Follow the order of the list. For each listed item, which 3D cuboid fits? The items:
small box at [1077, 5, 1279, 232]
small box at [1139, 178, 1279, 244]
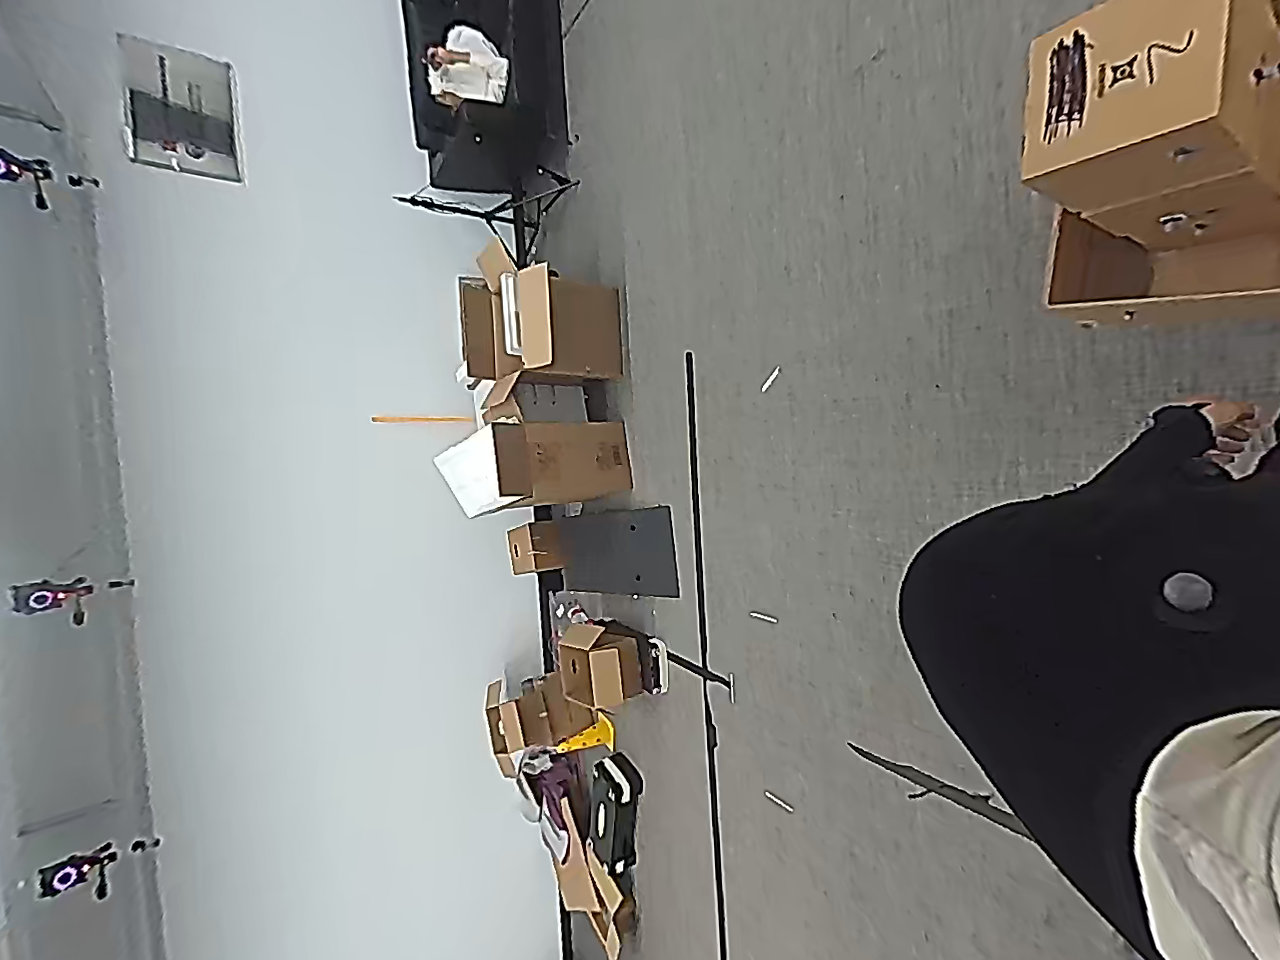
[{"bbox_3d":[0.720,-0.456,0.720,0.168,0.176,0.179,8,100,57],"label":"small box"},{"bbox_3d":[0.862,-0.464,0.802,0.179,0.176,0.168,12,104,55],"label":"small box"}]
